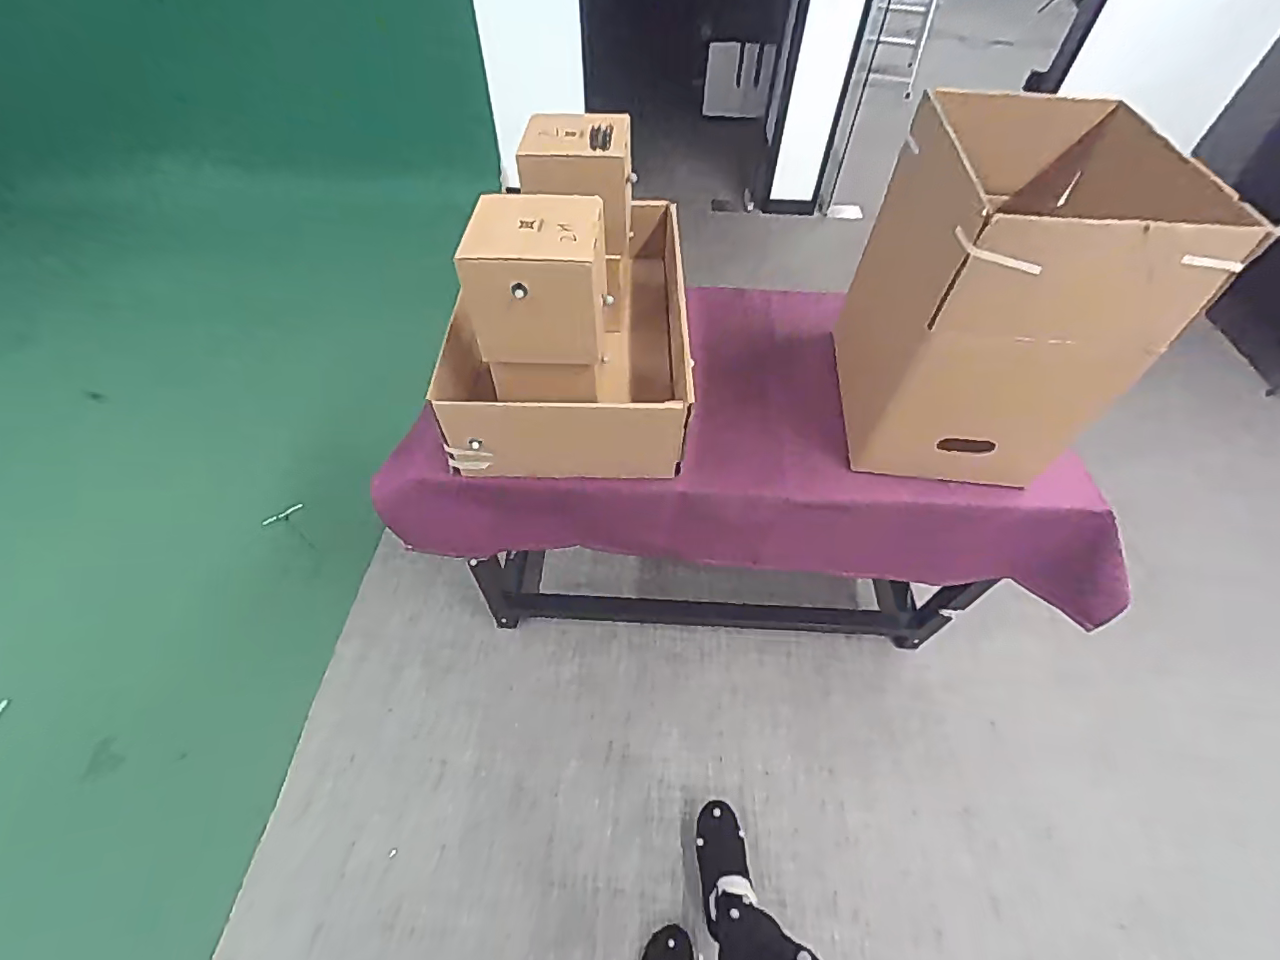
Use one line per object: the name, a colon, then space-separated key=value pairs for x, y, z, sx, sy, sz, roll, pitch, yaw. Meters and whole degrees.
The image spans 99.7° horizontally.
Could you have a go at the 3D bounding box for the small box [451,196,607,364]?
small box: x=-0.146 y=-0.283 z=0.779 sx=0.179 sy=0.176 sz=0.168 roll=2 pitch=54 yaw=1

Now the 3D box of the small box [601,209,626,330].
small box: x=-0.116 y=-0.420 z=1.088 sx=0.168 sy=0.176 sz=0.179 roll=2 pitch=54 yaw=2
